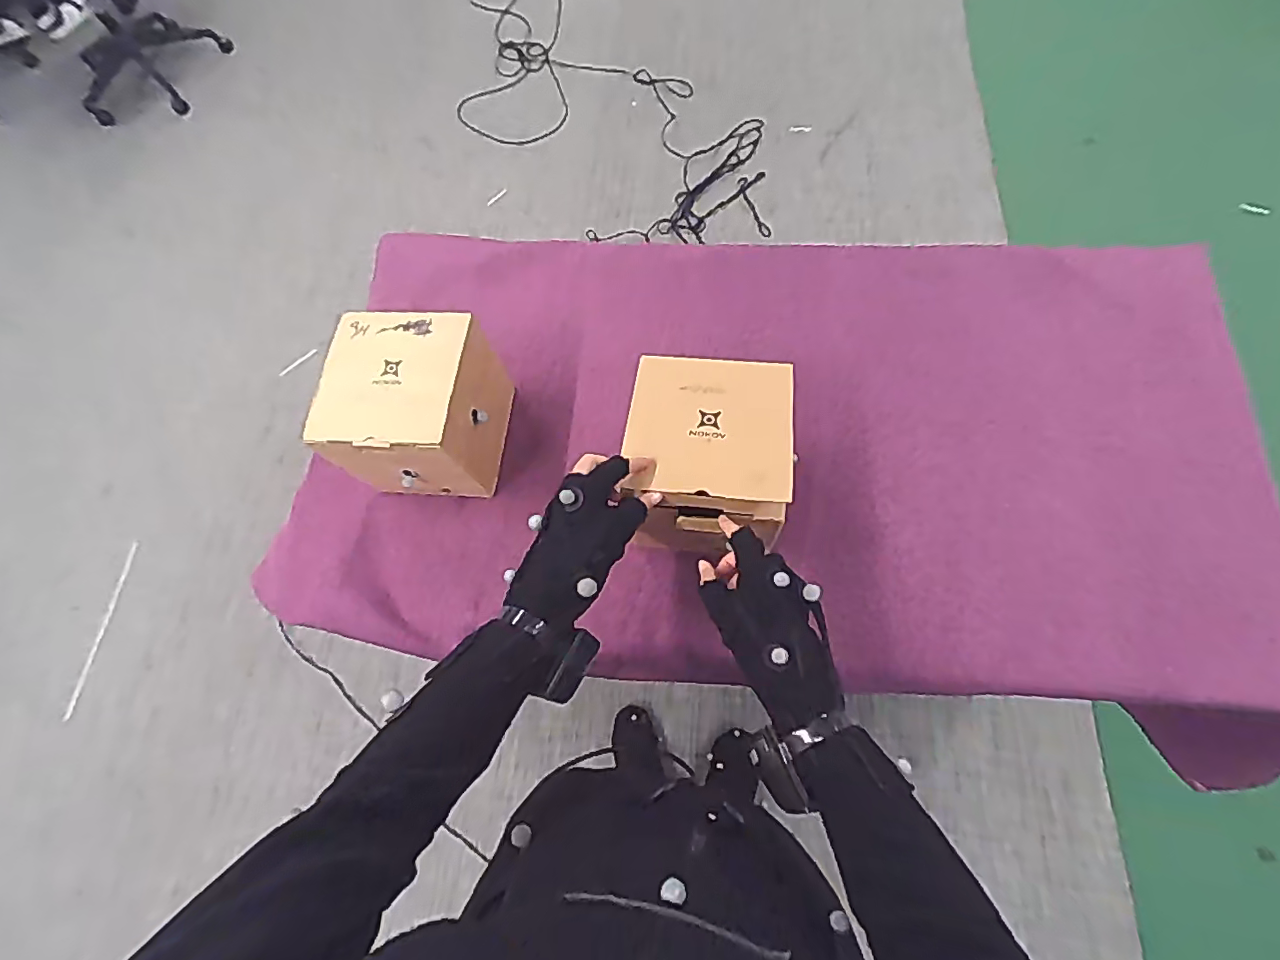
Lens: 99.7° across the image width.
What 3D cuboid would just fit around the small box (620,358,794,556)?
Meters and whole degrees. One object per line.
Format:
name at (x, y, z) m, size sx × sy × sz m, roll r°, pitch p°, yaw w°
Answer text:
small box at (0.080, -0.018, 0.629) m, size 0.168 × 0.176 × 0.179 m, roll 6°, pitch 69°, yaw 8°

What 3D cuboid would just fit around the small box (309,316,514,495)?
small box at (-0.273, -0.087, 0.693) m, size 0.168 × 0.176 × 0.179 m, roll 3°, pitch 70°, yaw 7°
